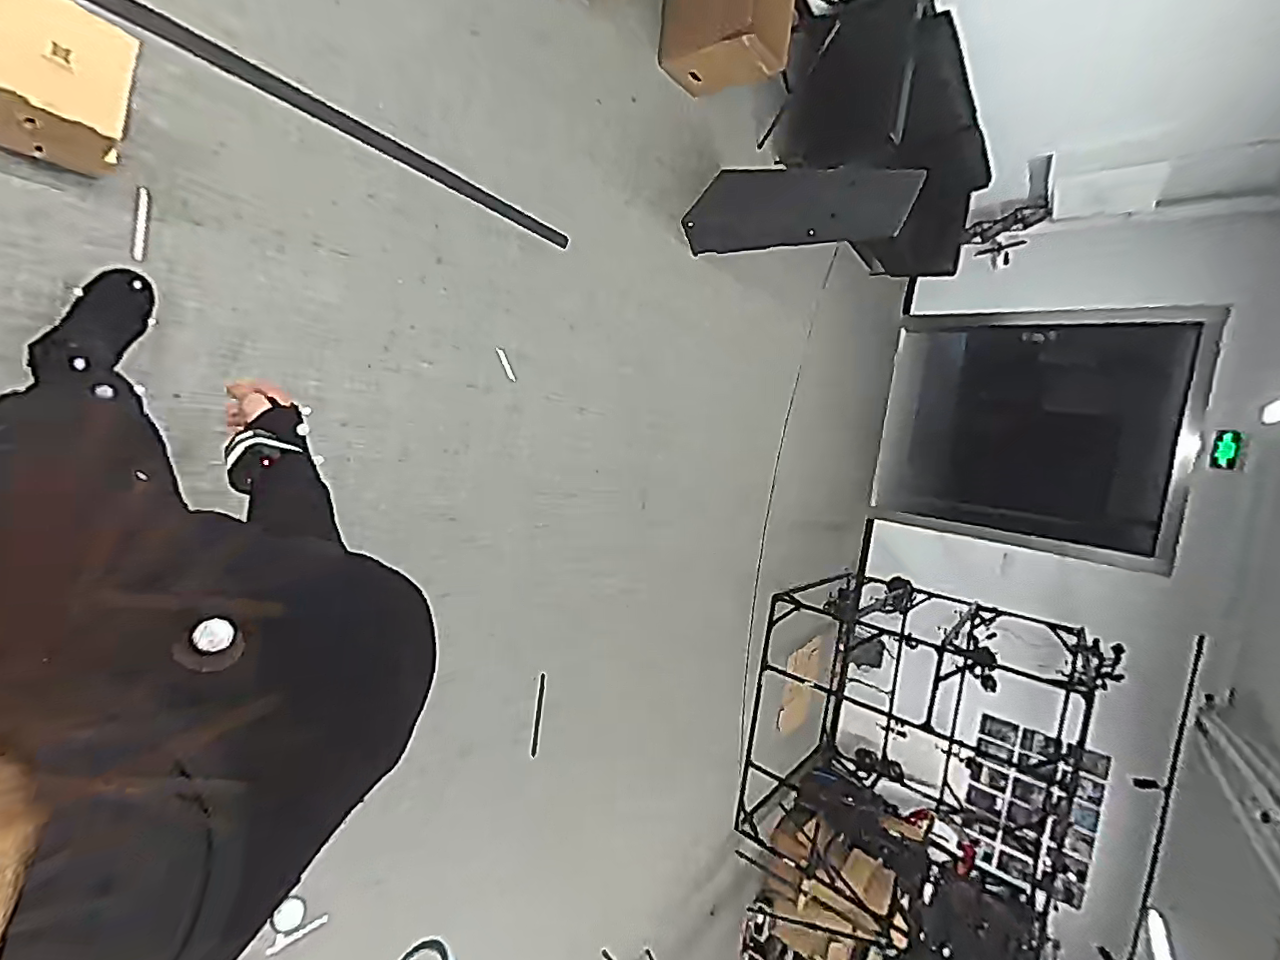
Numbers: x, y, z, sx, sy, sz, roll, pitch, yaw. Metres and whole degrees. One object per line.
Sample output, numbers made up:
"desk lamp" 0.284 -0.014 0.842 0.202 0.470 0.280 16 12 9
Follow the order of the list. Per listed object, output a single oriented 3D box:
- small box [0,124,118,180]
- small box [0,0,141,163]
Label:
"small box" -1.102 -0.683 1.004 0.179 0.176 0.168 2 97 -52
"small box" -0.976 -0.669 0.902 0.168 0.176 0.179 10 92 -53
